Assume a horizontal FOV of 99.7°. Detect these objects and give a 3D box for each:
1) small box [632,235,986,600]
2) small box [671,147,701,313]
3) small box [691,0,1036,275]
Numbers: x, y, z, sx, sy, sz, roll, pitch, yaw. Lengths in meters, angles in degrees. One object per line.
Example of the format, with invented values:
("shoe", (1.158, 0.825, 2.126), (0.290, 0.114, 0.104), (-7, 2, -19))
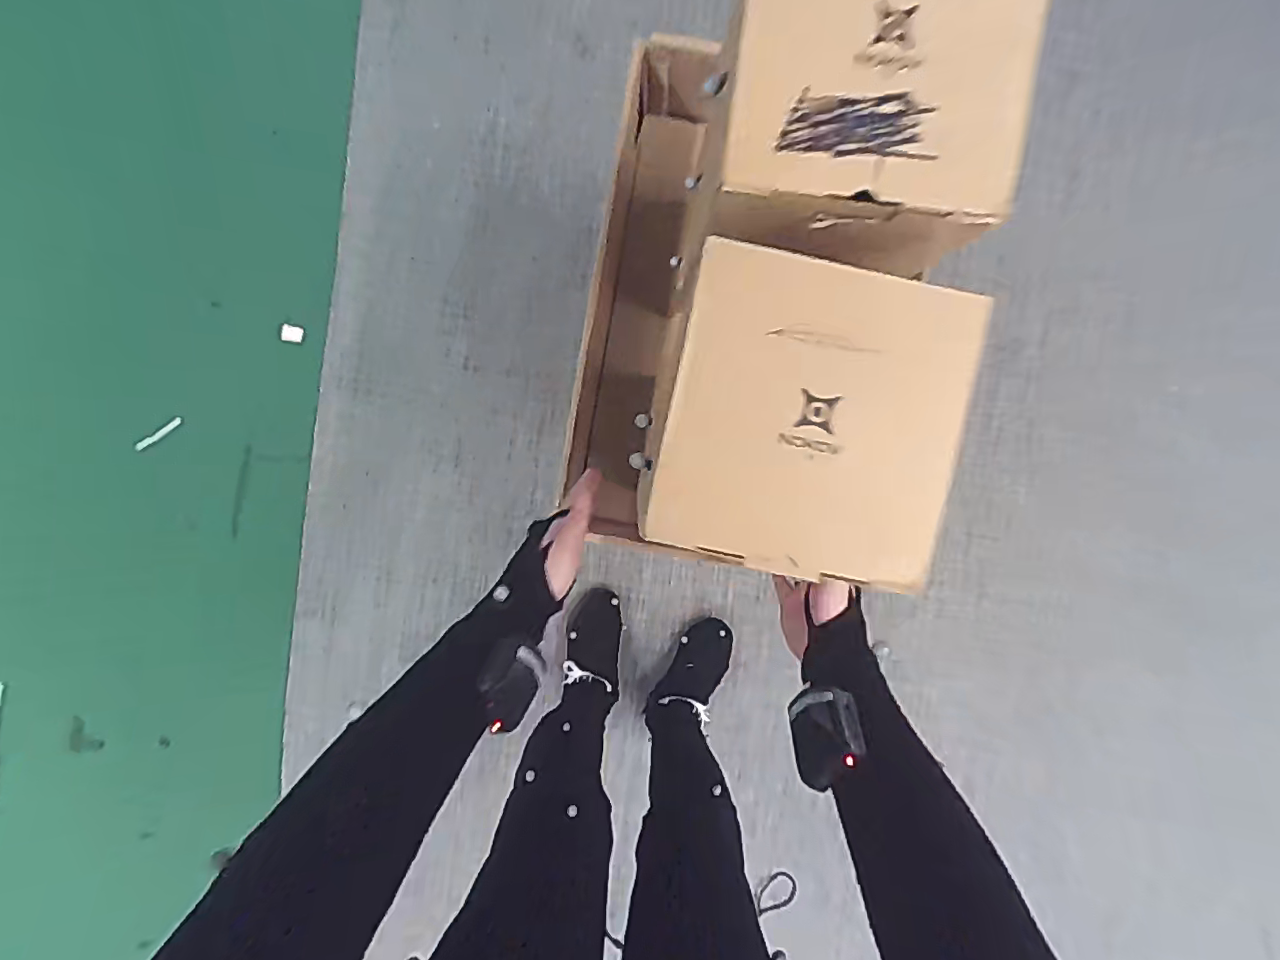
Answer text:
("small box", (0.094, -0.036, 0.379), (0.168, 0.176, 0.179), (12, 91, -1))
("small box", (0.135, -0.301, 0.700), (0.168, 0.176, 0.179), (9, 96, -1))
("small box", (0.130, -0.249, 0.375), (0.168, 0.176, 0.179), (7, 95, 0))
